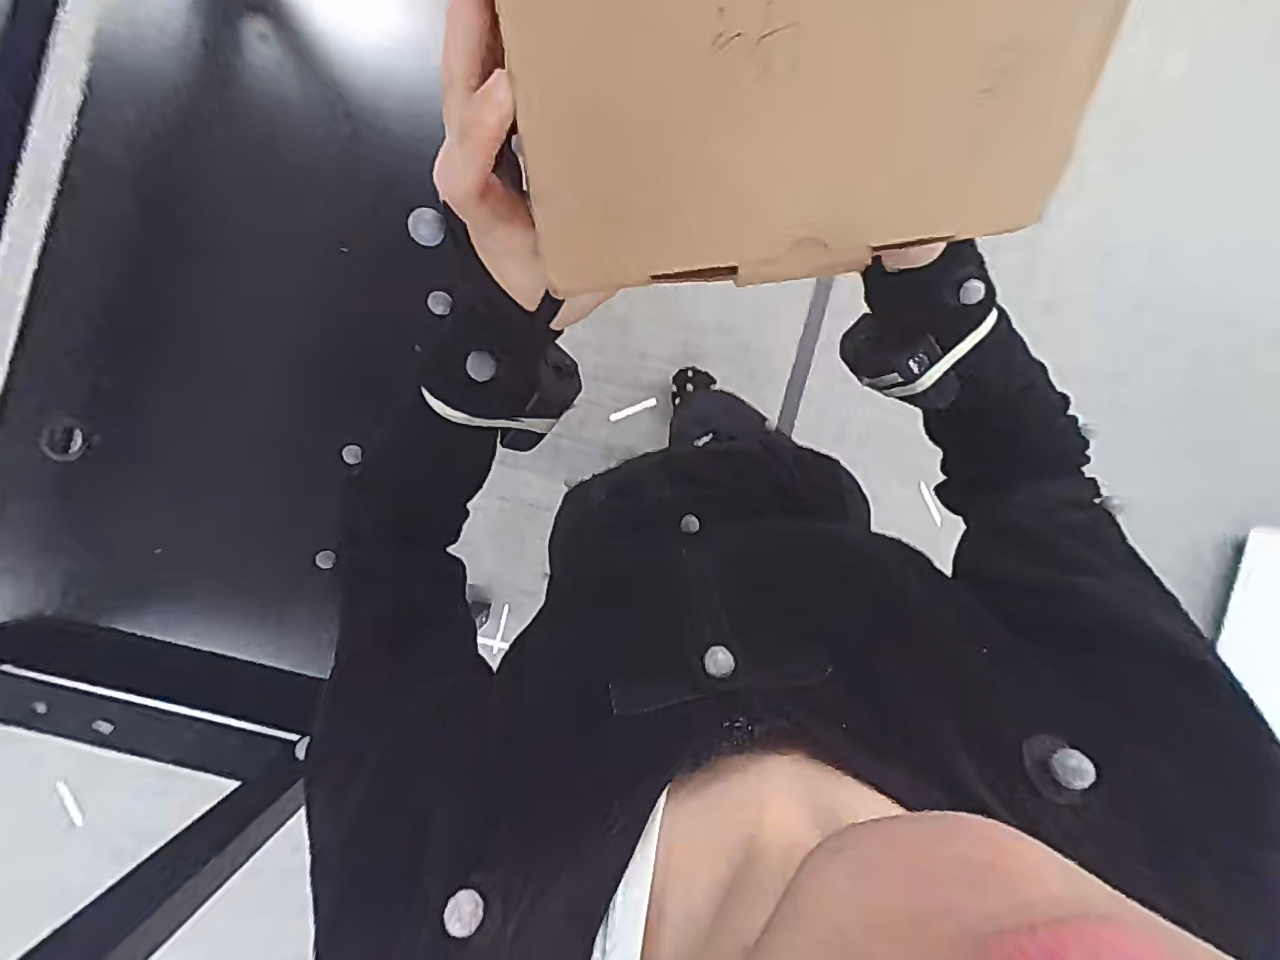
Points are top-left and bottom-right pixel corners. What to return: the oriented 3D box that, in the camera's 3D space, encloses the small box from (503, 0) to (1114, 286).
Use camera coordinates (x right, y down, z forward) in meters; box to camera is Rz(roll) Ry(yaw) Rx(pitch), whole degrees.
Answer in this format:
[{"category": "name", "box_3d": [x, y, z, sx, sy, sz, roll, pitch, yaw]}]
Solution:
[{"category": "small box", "box_3d": [0.035, -0.190, 0.187, 0.168, 0.176, 0.179, -10, 130, -6]}]
